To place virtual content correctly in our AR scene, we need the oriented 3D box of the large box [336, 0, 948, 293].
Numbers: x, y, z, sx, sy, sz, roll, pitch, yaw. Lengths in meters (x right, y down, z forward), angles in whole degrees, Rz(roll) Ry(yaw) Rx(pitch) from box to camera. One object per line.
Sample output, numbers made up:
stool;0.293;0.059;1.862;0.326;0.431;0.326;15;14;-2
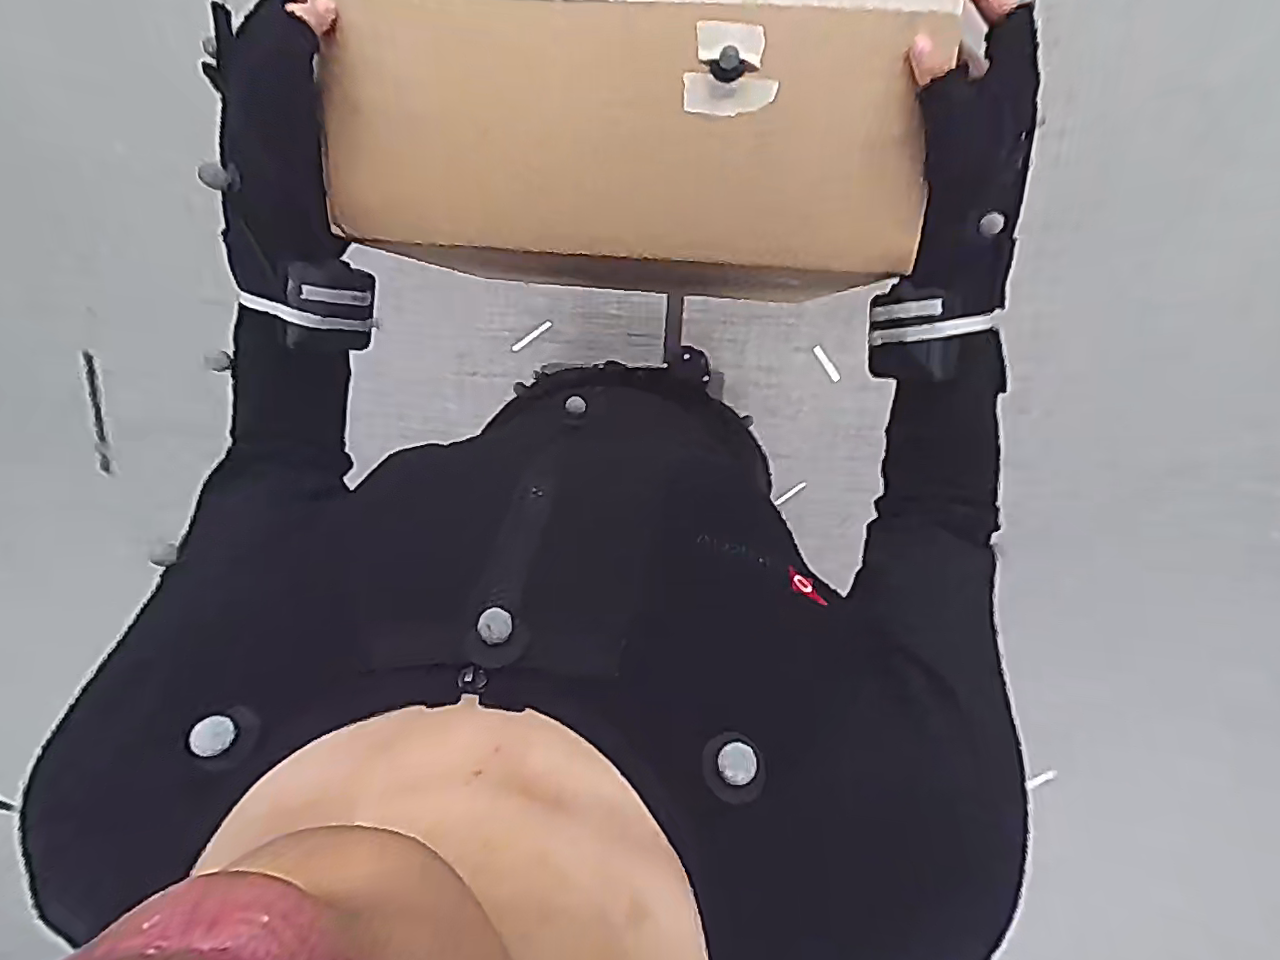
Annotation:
large box;0.004;-0.353;0.492;0.408;0.320;0.320;5;106;2
